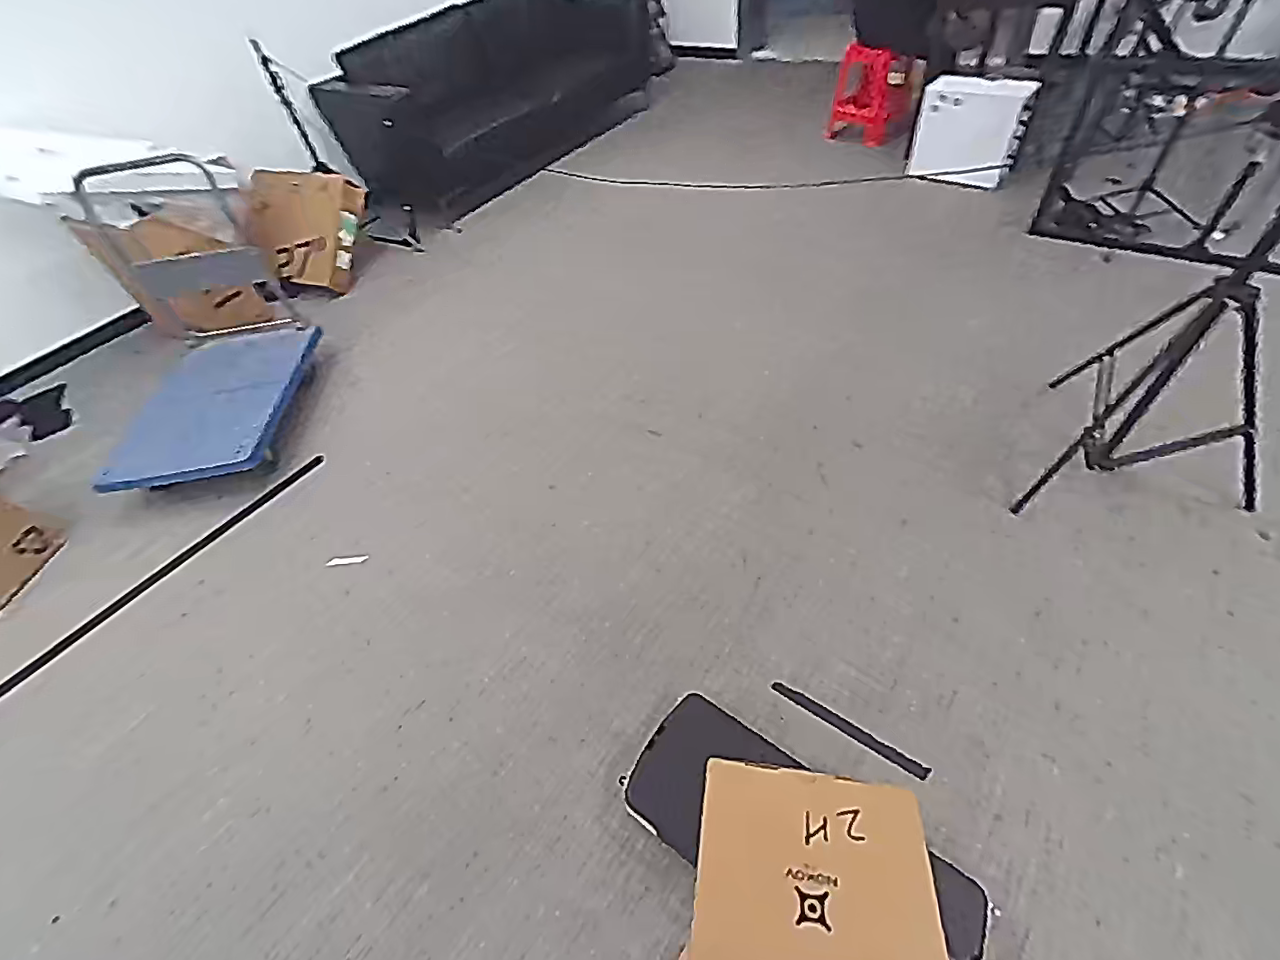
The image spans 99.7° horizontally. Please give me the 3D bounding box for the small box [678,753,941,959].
[{"bbox_3d":[0.123,0.354,0.421,0.168,0.176,0.179,4,35,13],"label":"small box"}]
